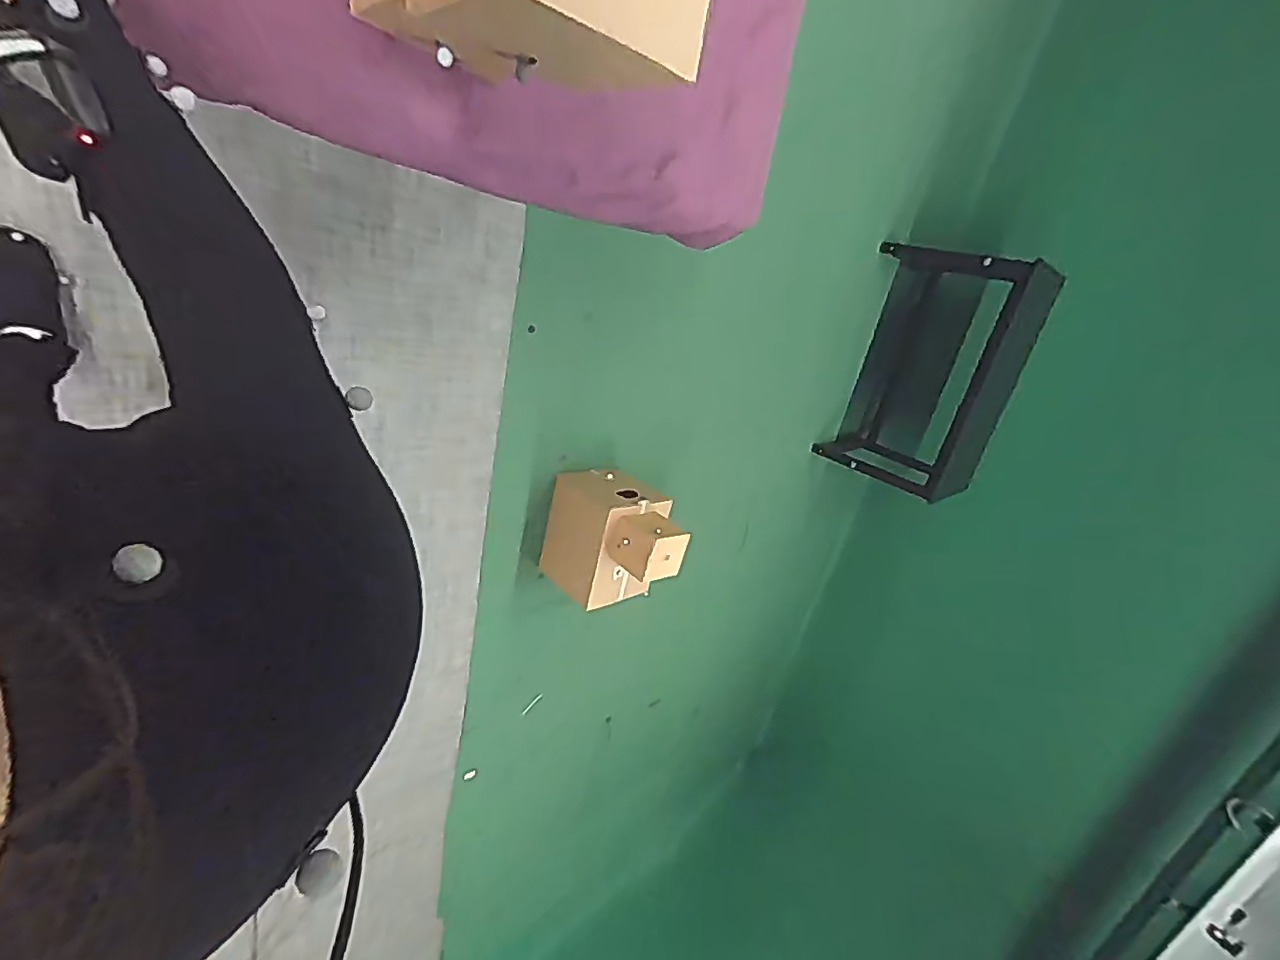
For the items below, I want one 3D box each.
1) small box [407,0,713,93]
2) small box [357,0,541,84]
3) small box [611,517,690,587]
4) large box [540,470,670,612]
[{"bbox_3d":[-0.053,-0.415,0.405,0.179,0.176,0.168,-11,121,-43],"label":"small box"},{"bbox_3d":[-0.152,-0.505,0.503,0.168,0.176,0.179,-7,118,-44],"label":"small box"},{"bbox_3d":[0.033,0.235,1.828,0.179,0.176,0.168,-3,116,-45],"label":"small box"},{"bbox_3d":[-0.140,0.210,2.016,0.320,0.320,0.408,-6,118,-44],"label":"large box"}]
